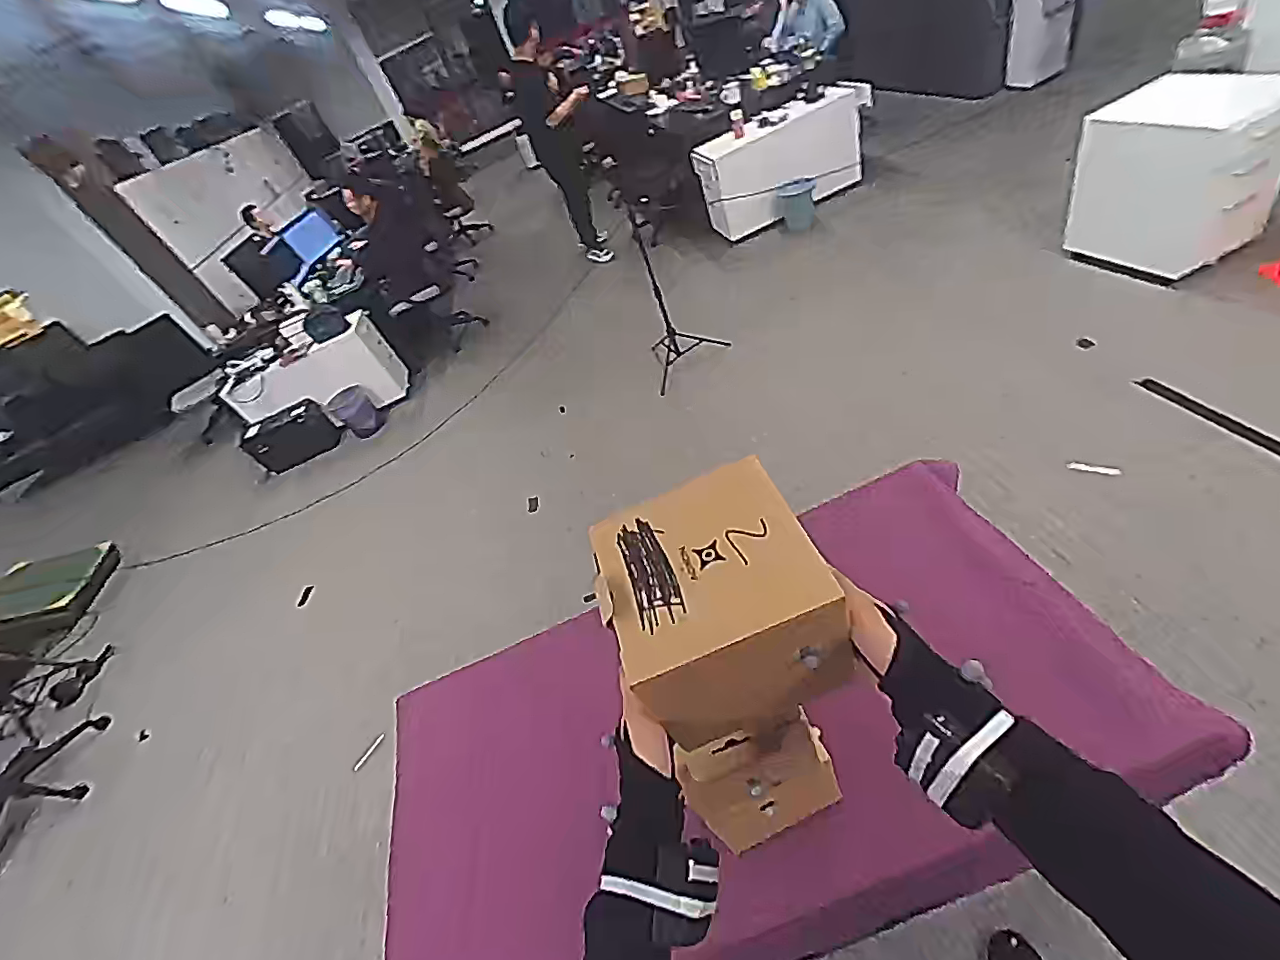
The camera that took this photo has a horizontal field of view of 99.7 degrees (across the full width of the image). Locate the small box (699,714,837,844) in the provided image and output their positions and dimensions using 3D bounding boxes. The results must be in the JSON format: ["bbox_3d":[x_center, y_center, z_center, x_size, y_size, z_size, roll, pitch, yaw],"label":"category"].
[{"bbox_3d":[0.161,0.389,0.781,0.179,0.176,0.168,-27,41,-1],"label":"small box"}]

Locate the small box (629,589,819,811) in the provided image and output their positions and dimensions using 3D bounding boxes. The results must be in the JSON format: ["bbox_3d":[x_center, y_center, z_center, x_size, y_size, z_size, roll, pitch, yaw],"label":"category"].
[{"bbox_3d":[0.104,0.275,0.676,0.168,0.176,0.179,-24,41,4],"label":"small box"}]
